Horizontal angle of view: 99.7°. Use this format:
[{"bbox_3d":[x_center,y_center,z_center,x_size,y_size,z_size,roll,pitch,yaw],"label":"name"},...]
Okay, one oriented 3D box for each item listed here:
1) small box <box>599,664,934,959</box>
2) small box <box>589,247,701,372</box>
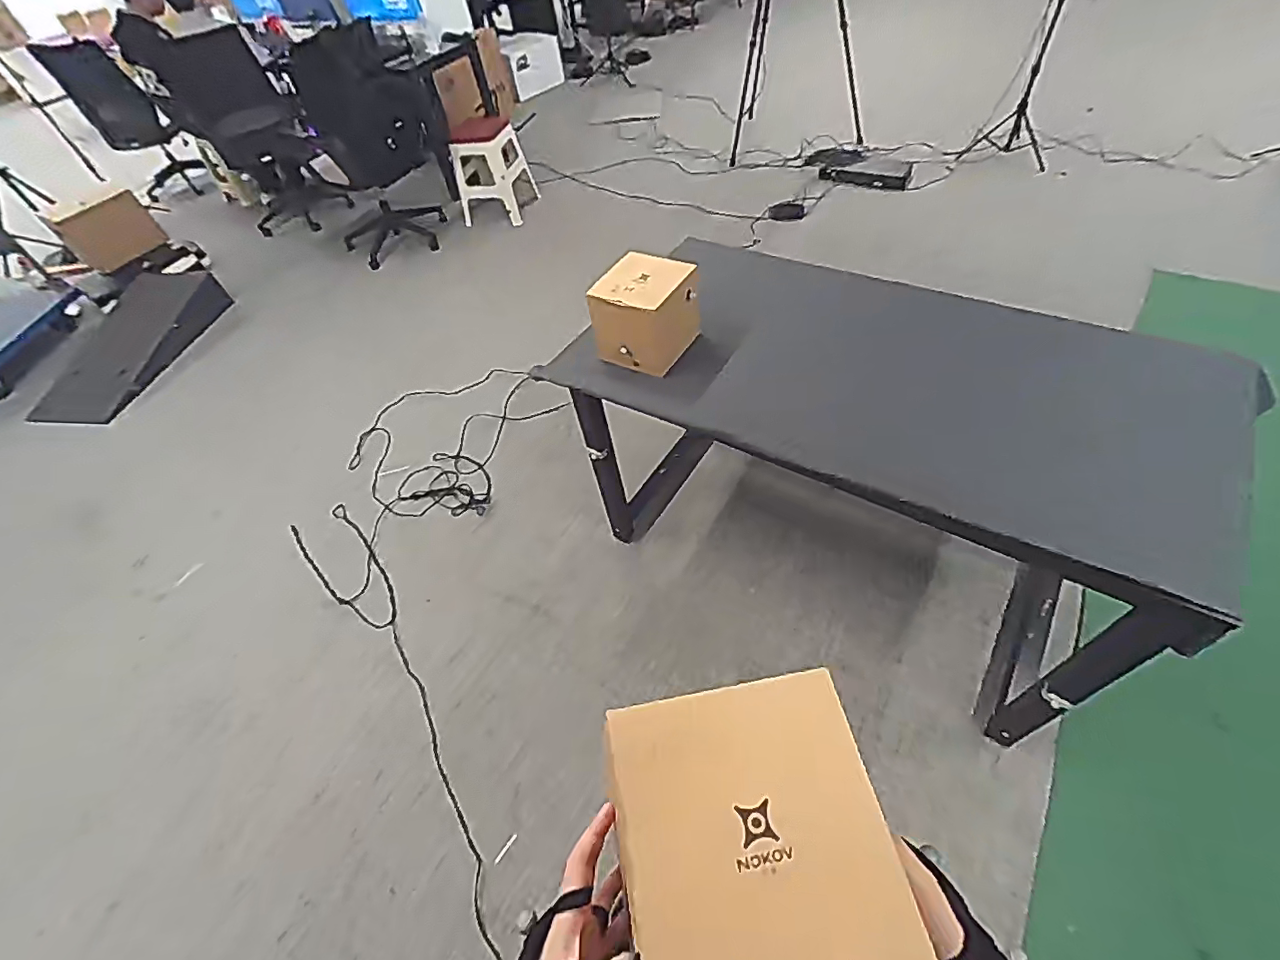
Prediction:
[{"bbox_3d":[0.063,0.257,0.399,0.168,0.176,0.179,-7,58,-10],"label":"small box"},{"bbox_3d":[0.017,-0.362,1.150,0.168,0.176,0.179,23,58,24],"label":"small box"}]
